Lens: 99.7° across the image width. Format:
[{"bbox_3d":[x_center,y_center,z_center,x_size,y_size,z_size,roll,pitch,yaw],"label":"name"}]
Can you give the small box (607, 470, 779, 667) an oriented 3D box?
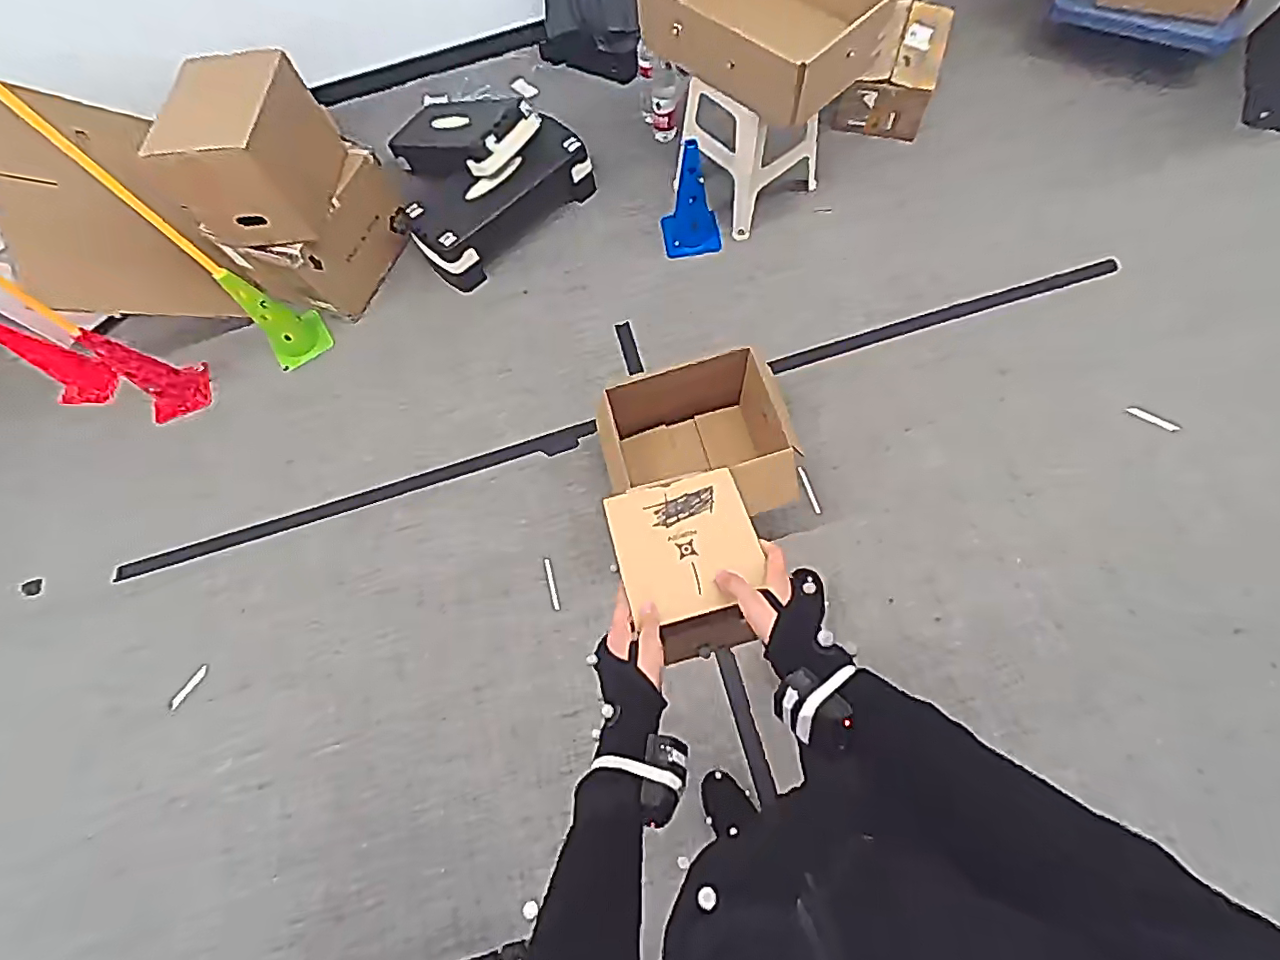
[{"bbox_3d":[0.061,0.118,0.700,0.168,0.176,0.179,-15,57,-3],"label":"small box"}]
